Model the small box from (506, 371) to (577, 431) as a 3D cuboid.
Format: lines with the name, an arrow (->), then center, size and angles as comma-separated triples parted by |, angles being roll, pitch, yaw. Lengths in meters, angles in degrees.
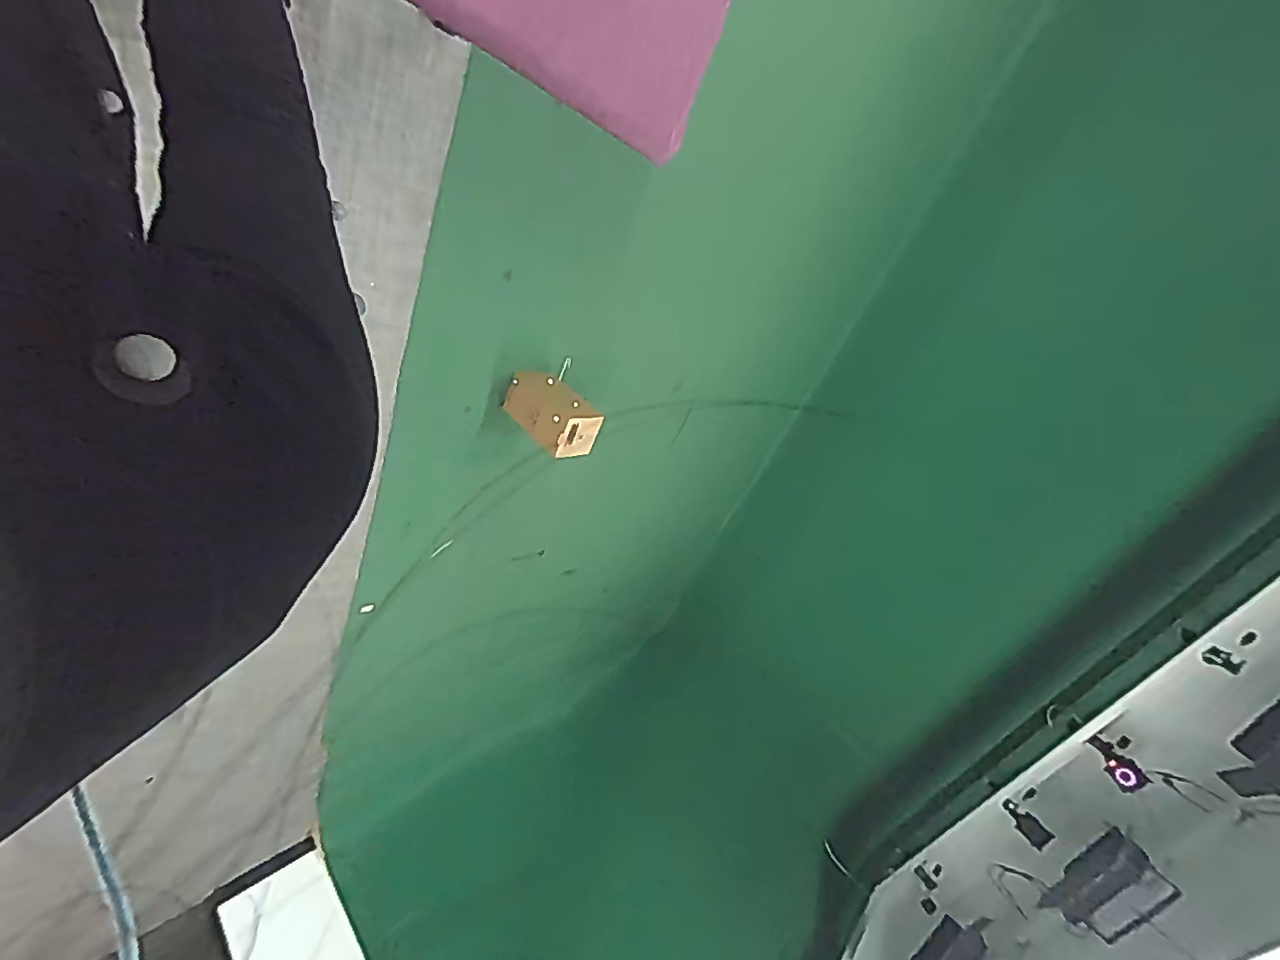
small box -> -0.376, -0.301, 2.037 | 0.179, 0.176, 0.168 | -10, 134, -50
